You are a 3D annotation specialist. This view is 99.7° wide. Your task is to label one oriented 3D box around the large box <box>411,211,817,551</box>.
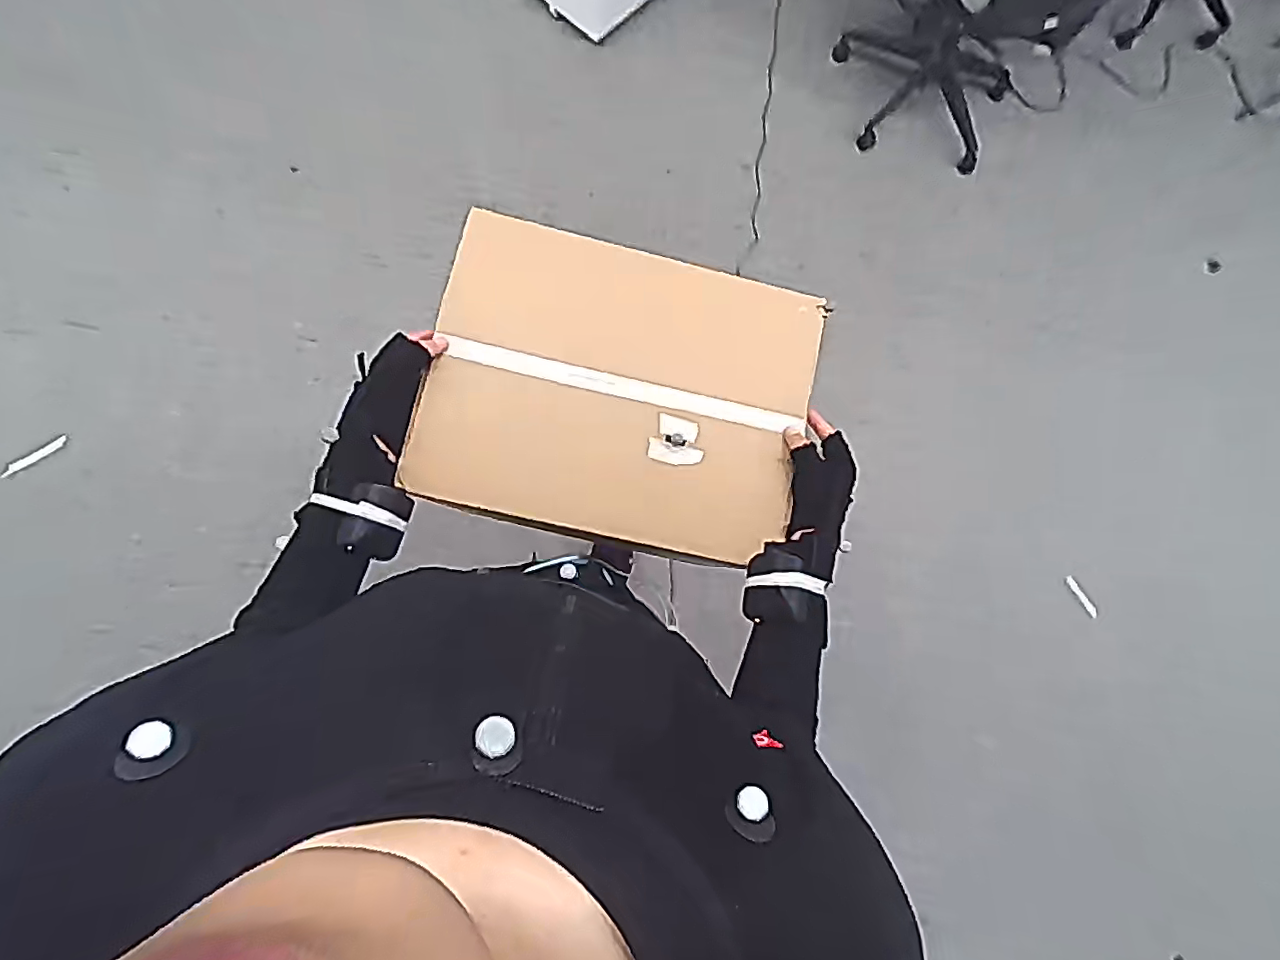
[{"bbox_3d":[-0.034,-0.091,0.732,0.408,0.320,0.320,12,83,-6],"label":"large box"}]
